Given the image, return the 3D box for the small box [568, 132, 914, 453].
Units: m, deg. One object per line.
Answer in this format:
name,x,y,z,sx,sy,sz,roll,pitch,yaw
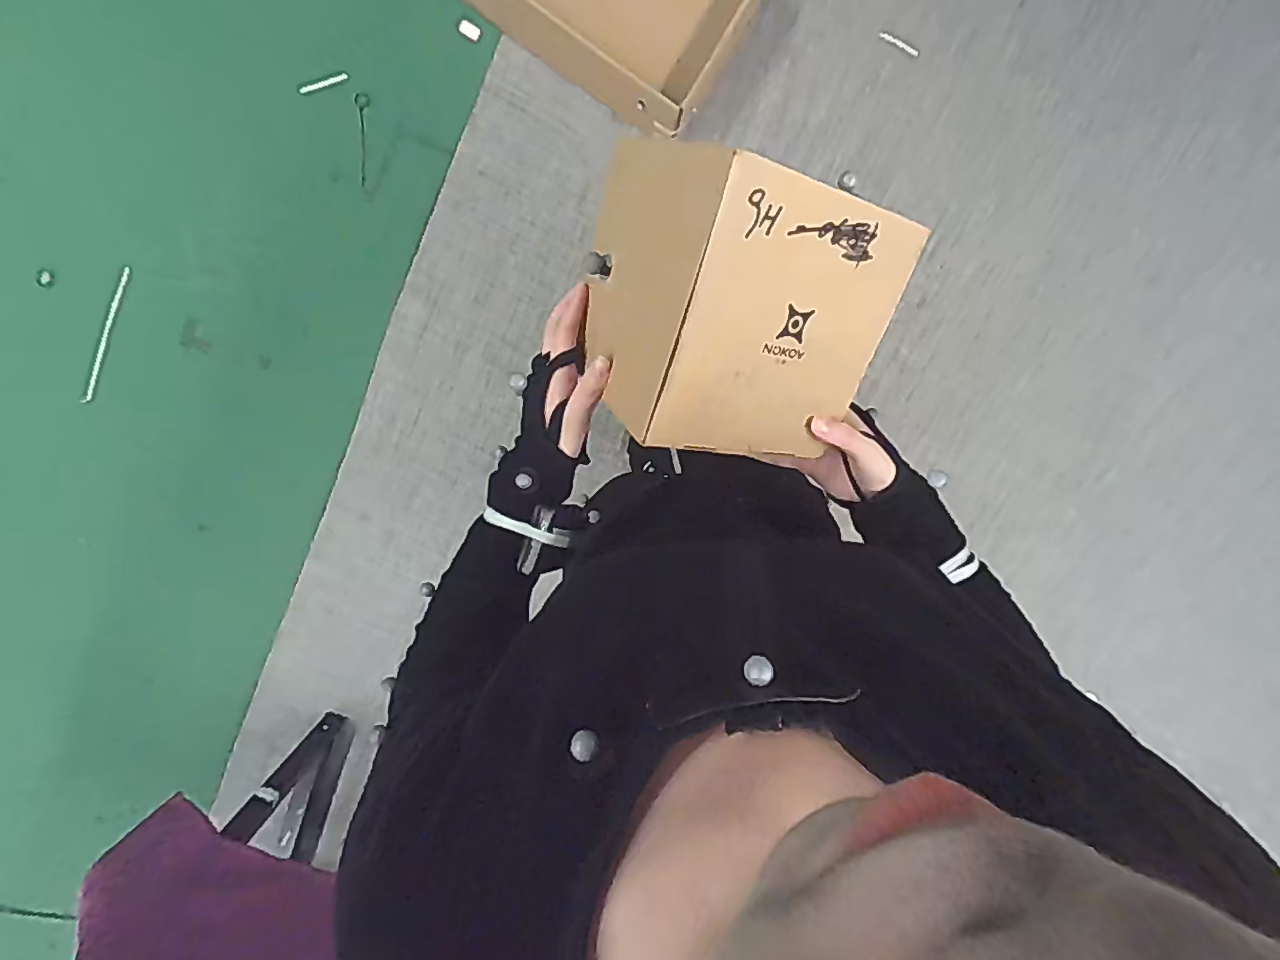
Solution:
small box,0.055,-0.140,0.414,0.168,0.176,0.179,2,121,-29
